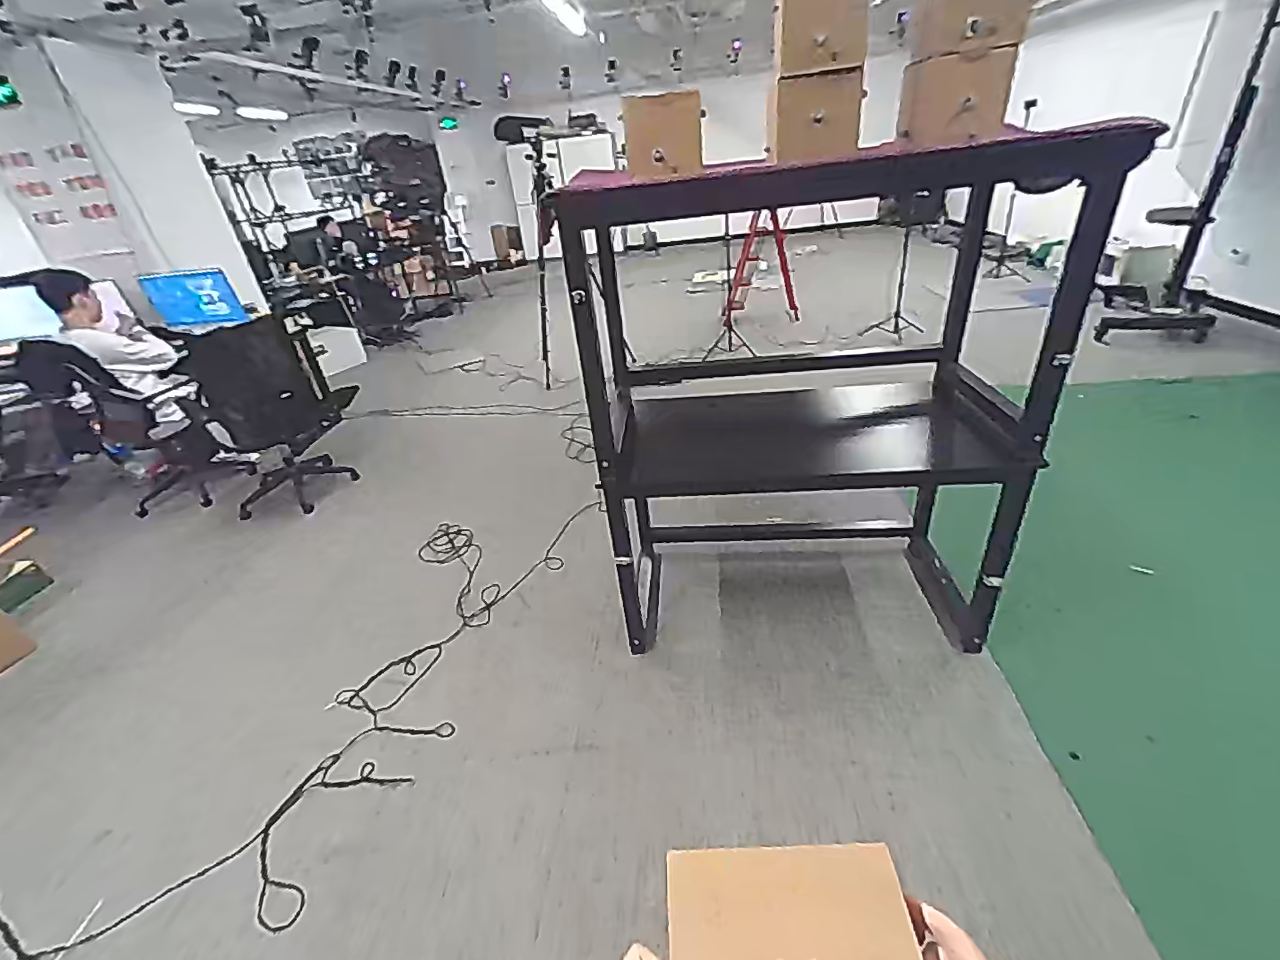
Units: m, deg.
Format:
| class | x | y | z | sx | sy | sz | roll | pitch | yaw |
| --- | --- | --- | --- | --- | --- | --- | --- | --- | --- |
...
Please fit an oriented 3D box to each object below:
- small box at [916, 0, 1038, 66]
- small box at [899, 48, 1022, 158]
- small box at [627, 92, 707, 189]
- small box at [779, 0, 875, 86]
| class | x | y | z | sx | sy | sz | roll | pitch | yaw |
| --- | --- | --- | --- | --- | --- | --- | --- | --- | --- |
| small box | 0.666 | -0.938 | 1.075 | 0.168 | 0.176 | 0.179 | -2 | 32 | 11 |
| small box | 0.675 | -0.800 | 1.161 | 0.168 | 0.176 | 0.179 | -2 | 32 | 8 |
| small box | 0.063 | -0.762 | 1.227 | 0.168 | 0.176 | 0.179 | -4 | 30 | 4 |
| small box | 0.375 | -0.923 | 1.107 | 0.168 | 0.176 | 0.179 | -1 | 32 | 11 |
